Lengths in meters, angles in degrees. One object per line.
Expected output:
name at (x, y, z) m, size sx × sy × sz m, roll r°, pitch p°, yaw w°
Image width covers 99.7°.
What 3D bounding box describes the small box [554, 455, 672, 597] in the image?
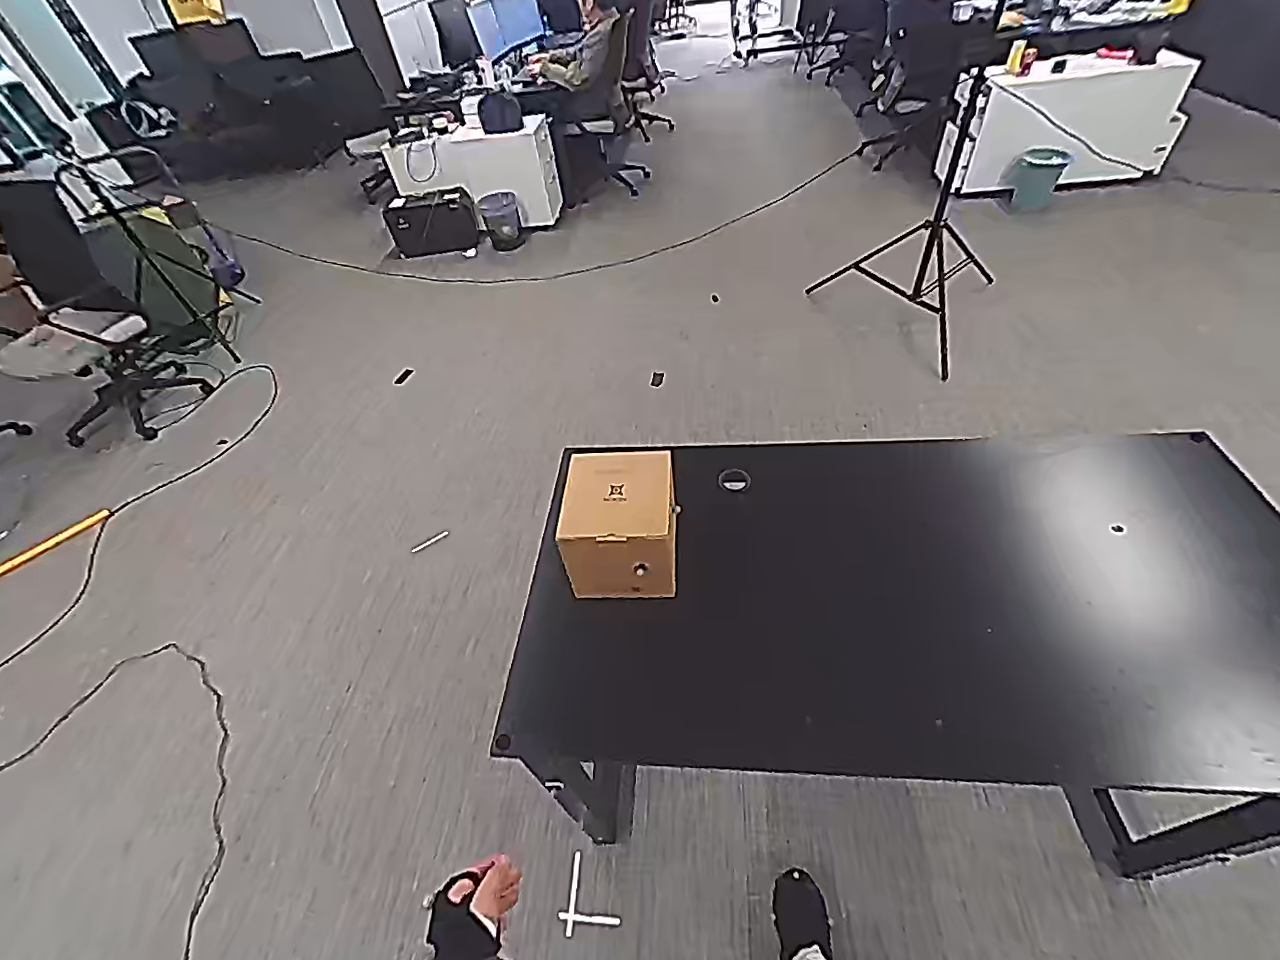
small box at (-0.034, 0.079, 0.891) m, size 0.168 × 0.176 × 0.179 m, roll -1°, pitch 46°, yaw 5°
